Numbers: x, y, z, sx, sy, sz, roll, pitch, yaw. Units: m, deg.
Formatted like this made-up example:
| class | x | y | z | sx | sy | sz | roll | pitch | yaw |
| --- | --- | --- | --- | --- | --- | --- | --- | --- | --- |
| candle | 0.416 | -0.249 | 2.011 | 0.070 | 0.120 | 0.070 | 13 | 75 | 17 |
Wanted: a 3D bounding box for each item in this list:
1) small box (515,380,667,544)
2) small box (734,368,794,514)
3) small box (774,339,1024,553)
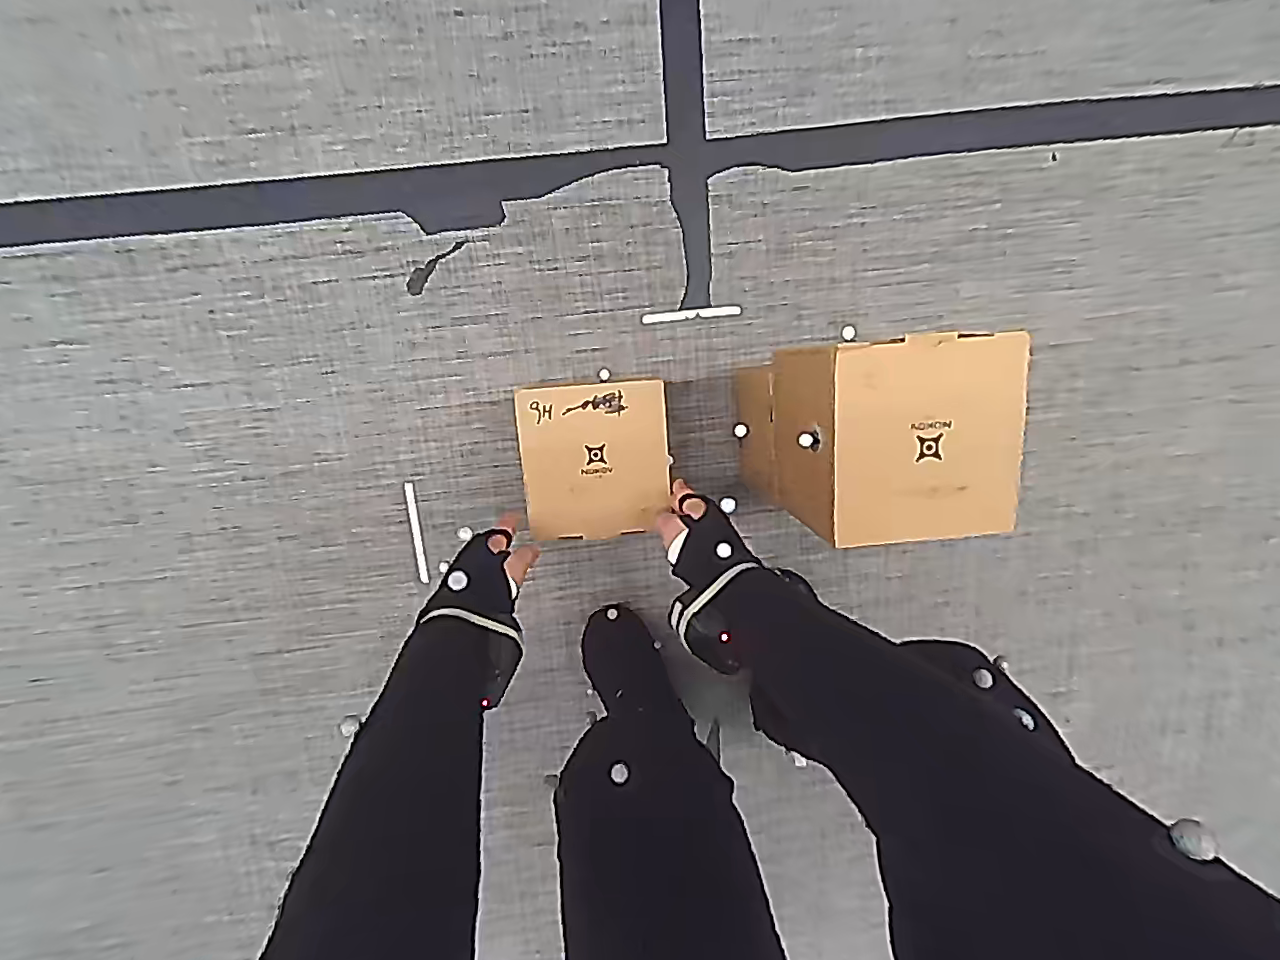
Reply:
| class | x | y | z | sx | sy | sz | roll | pitch | yaw |
| --- | --- | --- | --- | --- | --- | --- | --- | --- | --- |
| small box | -0.055 | -0.031 | 0.687 | 0.168 | 0.176 | 0.179 | -3 | 103 | -2 |
| small box | 0.232 | -0.064 | 0.701 | 0.179 | 0.176 | 0.168 | -7 | 102 | -2 |
| small box | 0.238 | -0.042 | 0.539 | 0.168 | 0.176 | 0.179 | -5 | 103 | -2 |
